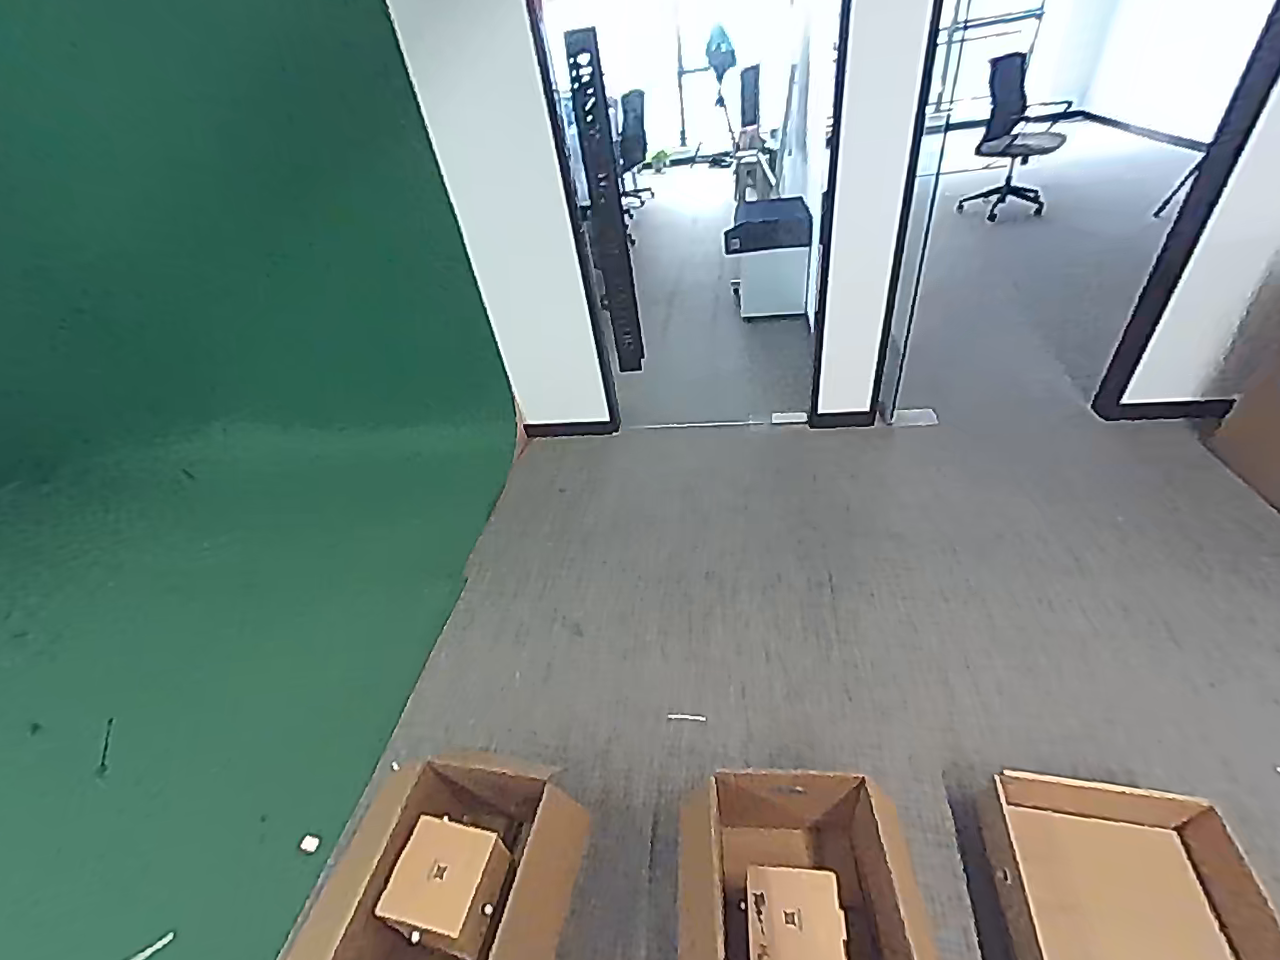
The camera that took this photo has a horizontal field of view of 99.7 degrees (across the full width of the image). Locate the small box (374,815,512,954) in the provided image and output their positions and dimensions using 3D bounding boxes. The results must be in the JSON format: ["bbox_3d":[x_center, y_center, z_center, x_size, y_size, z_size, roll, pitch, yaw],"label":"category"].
[{"bbox_3d":[-0.376,0.802,1.071,0.179,0.176,0.168,4,39,14],"label":"small box"}]
